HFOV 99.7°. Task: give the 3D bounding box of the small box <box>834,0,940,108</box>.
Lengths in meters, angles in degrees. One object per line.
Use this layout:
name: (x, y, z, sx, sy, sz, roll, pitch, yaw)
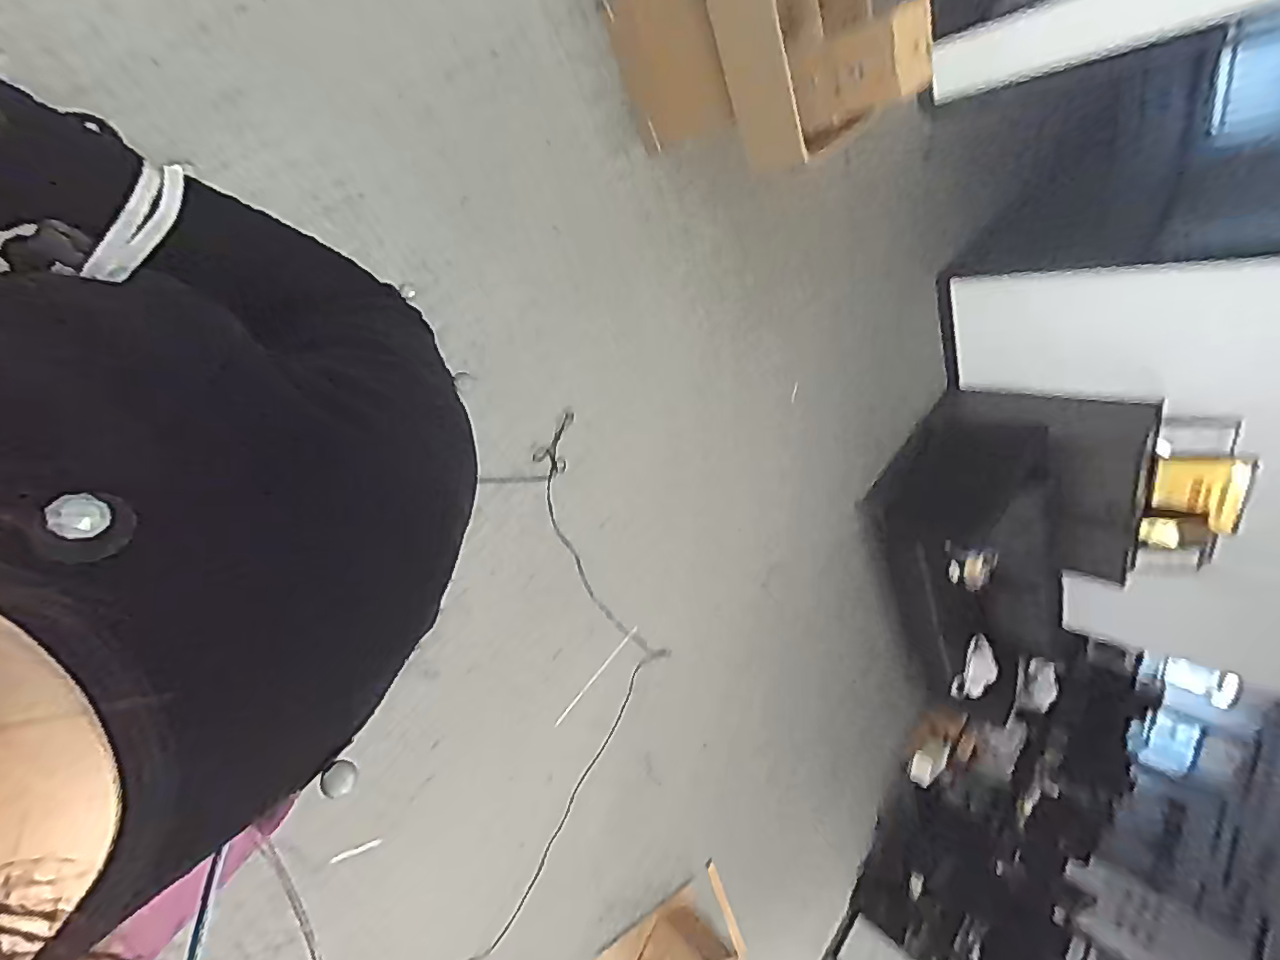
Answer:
small box: (0.572, -1.006, 1.266, 0.179, 0.176, 0.168, -42, 127, -23)
